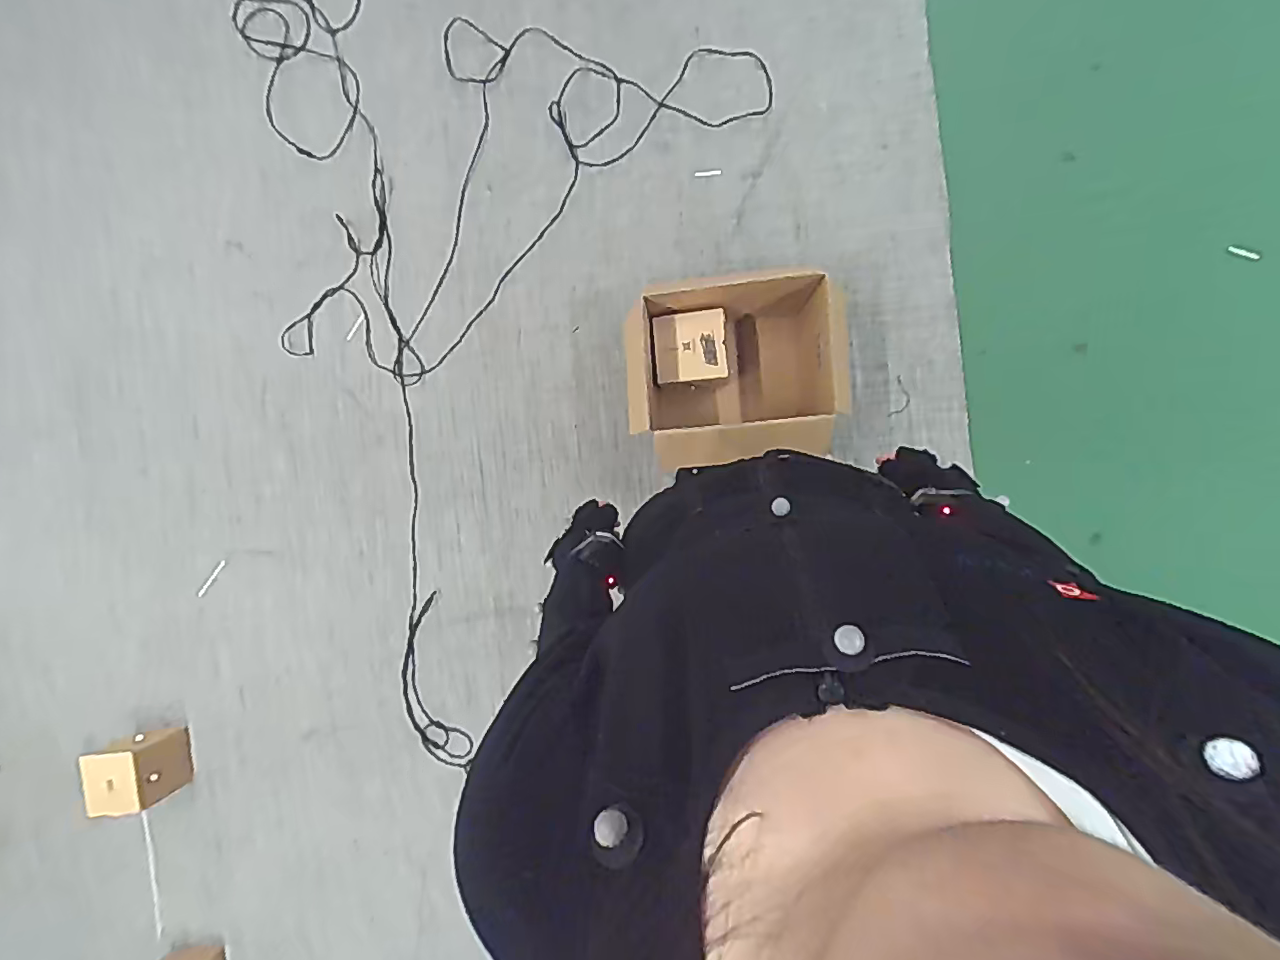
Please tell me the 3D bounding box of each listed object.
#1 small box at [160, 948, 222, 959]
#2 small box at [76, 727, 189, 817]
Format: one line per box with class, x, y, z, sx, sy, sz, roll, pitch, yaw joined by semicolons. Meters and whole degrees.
small box;-1.365;1.515;1.575;0.179;0.176;0.168;-7;91;5
small box;-1.463;0.836;1.568;0.168;0.176;0.179;-7;91;5
